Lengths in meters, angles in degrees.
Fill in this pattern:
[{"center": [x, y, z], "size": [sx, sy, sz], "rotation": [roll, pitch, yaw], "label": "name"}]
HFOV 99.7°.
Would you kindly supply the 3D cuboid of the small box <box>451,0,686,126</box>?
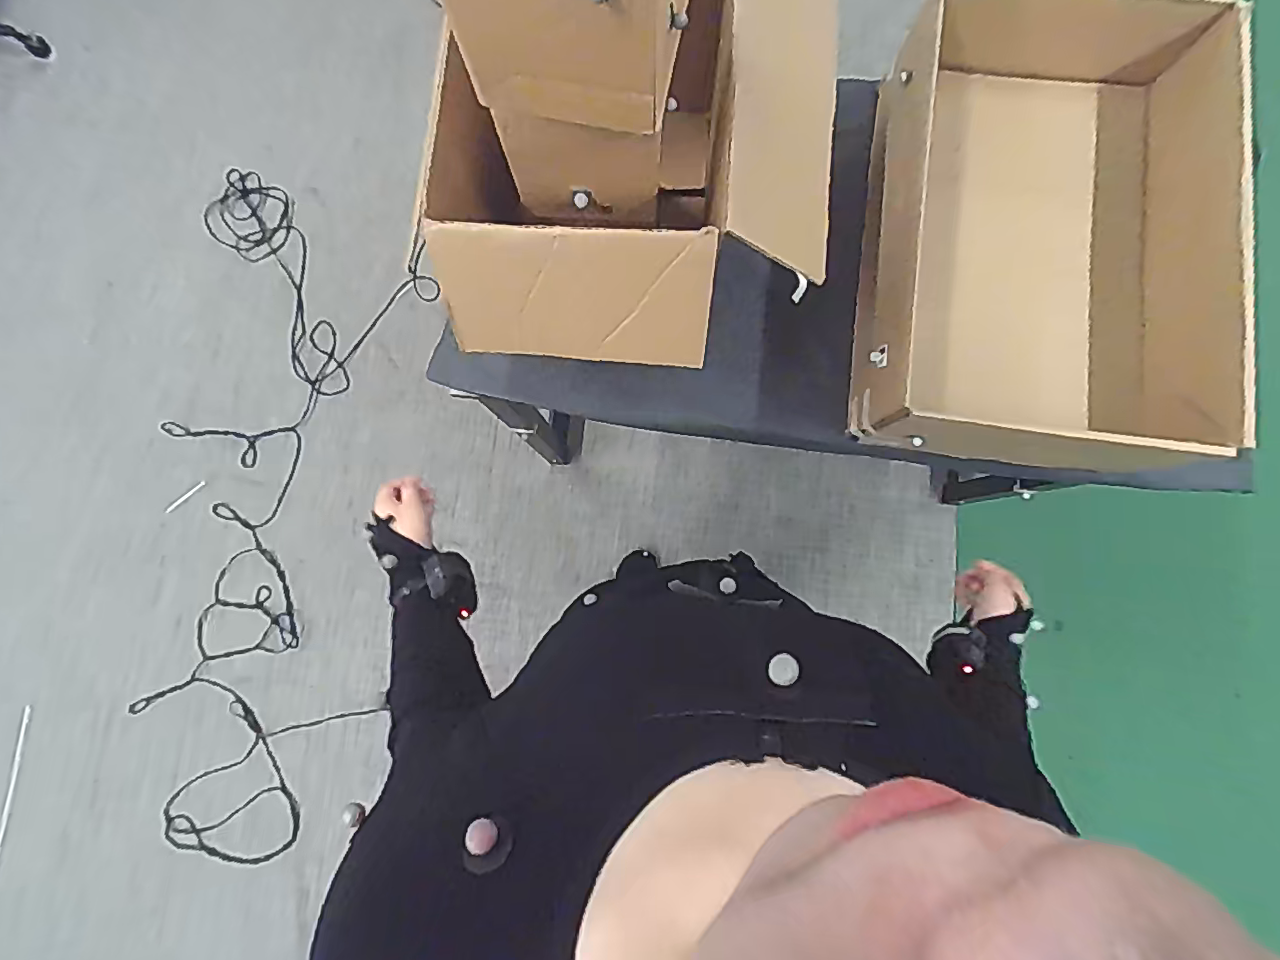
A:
[{"center": [-0.055, -0.432, 0.443], "size": [0.179, 0.176, 0.168], "rotation": [11, 83, 2], "label": "small box"}]
